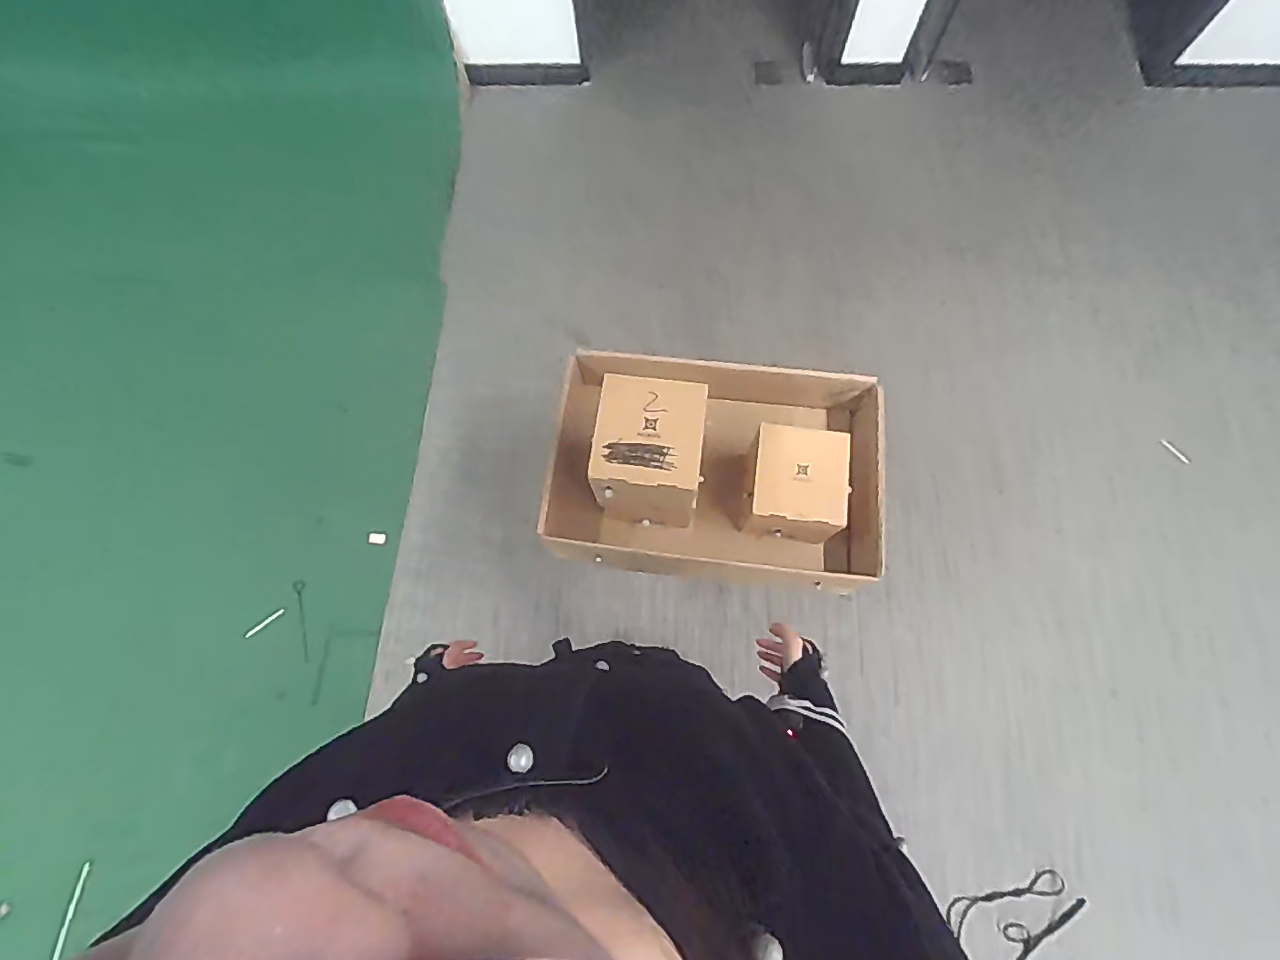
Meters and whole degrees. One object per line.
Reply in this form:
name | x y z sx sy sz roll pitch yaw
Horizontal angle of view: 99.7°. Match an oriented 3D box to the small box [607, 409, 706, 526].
small box | 0.032 -0.019 1.054 0.168 0.176 0.179 6 74 4
